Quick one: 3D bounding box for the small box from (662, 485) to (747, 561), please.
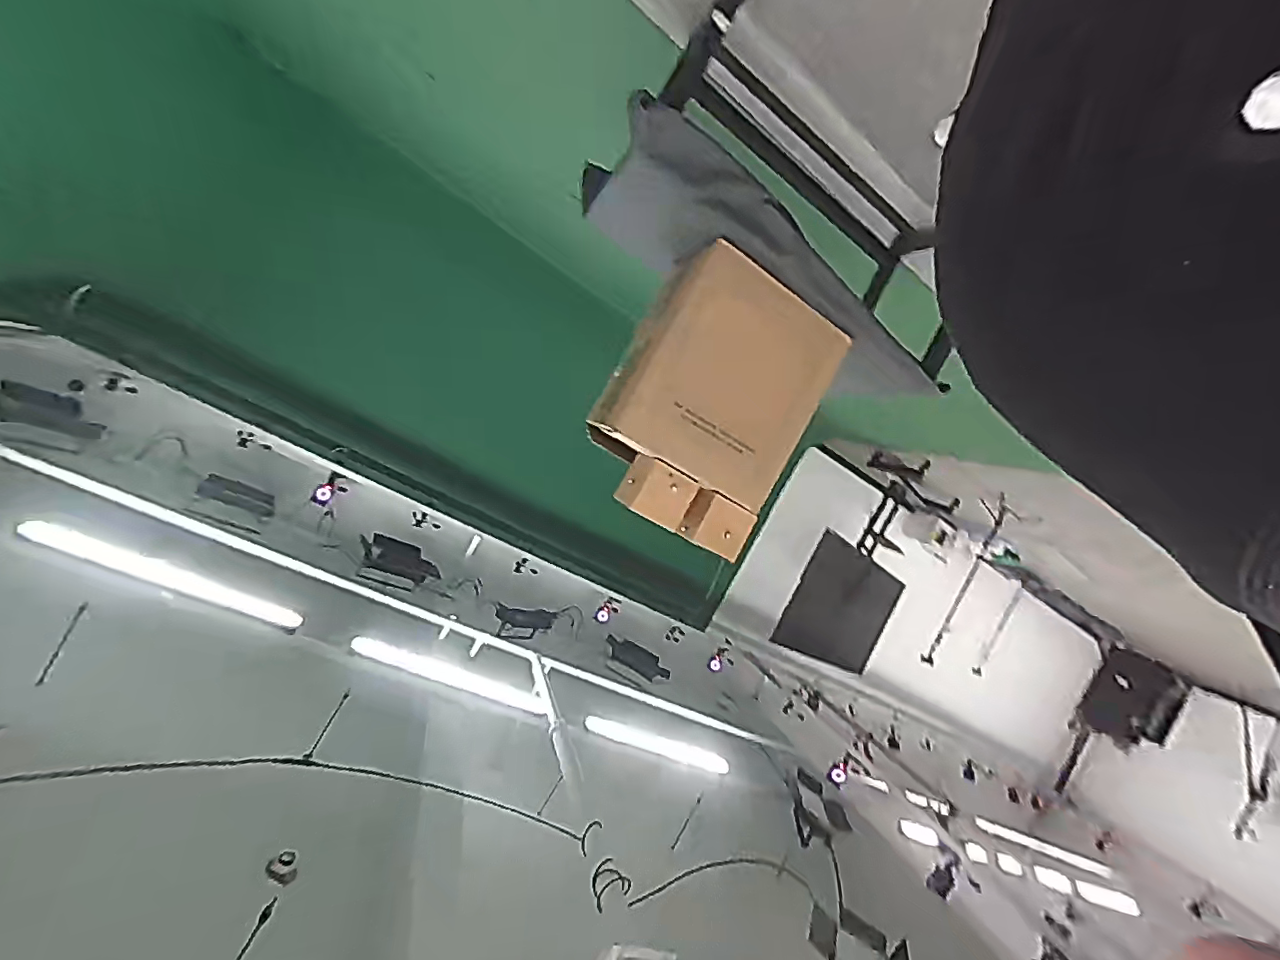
[{"bbox_3d":[0.209,0.134,1.730,0.179,0.176,0.168,28,176,-28],"label":"small box"}]
